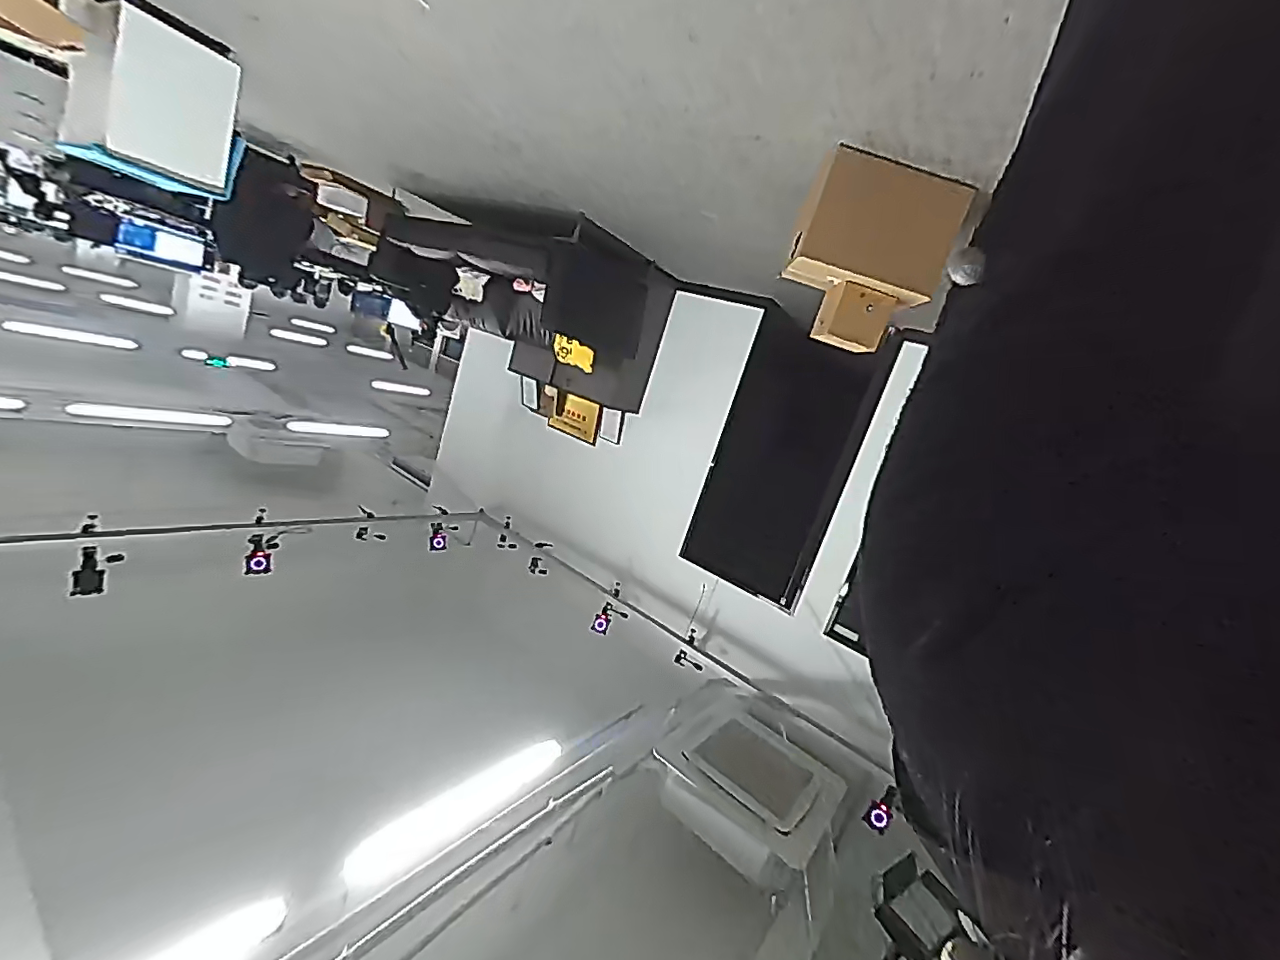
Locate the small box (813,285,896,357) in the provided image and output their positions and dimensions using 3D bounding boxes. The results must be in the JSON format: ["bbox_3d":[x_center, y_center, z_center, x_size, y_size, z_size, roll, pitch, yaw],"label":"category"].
[{"bbox_3d":[0.680,-0.502,1.716,0.168,0.176,0.179,18,-168,-3],"label":"small box"}]

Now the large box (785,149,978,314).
[{"bbox_3d":[0.715,-0.741,1.662,0.408,0.320,0.320,20,-169,1],"label":"large box"}]
